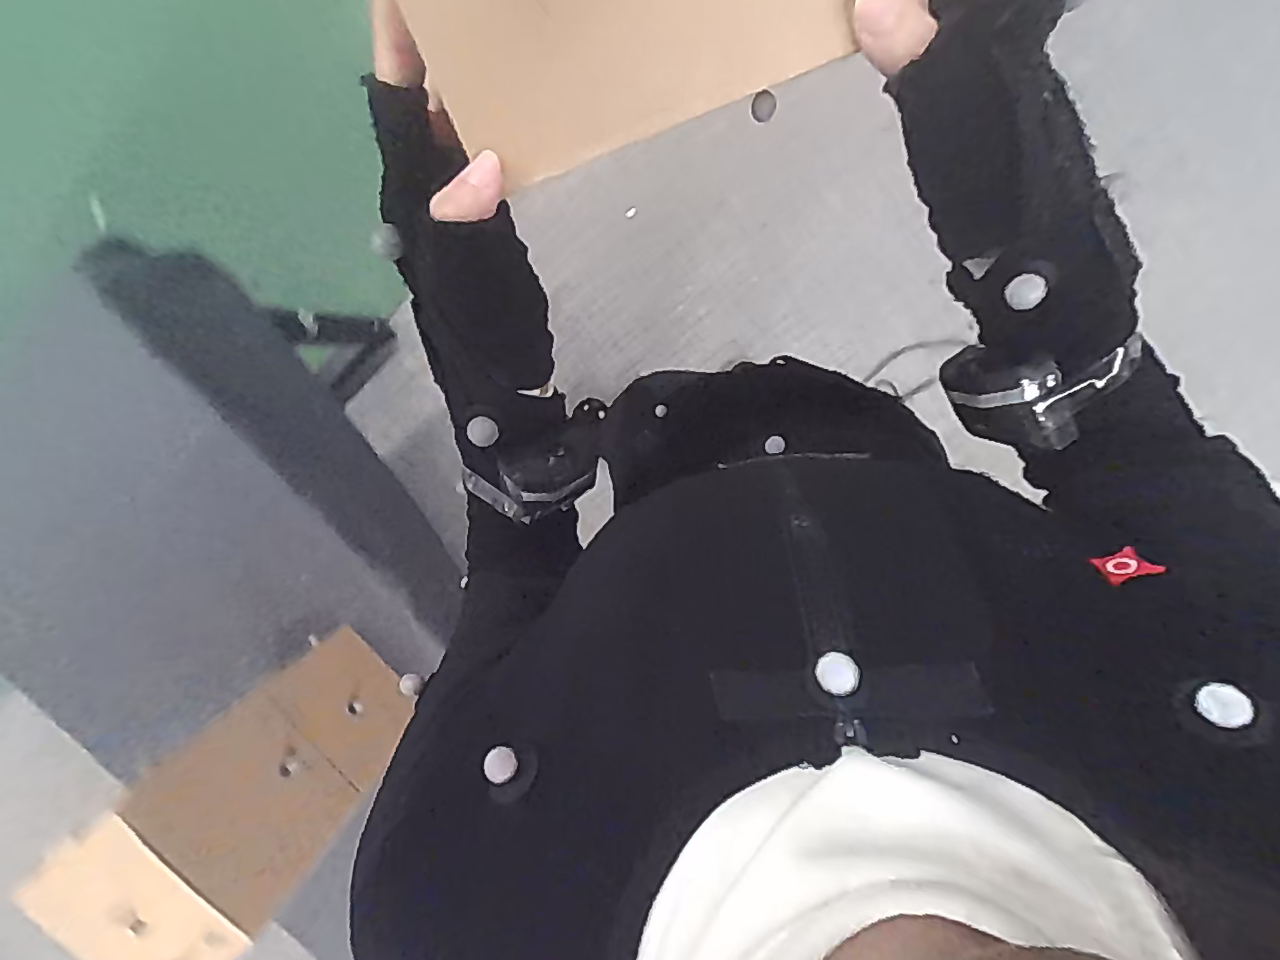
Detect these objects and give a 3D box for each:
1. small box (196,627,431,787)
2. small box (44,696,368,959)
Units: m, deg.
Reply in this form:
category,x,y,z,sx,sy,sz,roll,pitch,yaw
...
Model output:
category,x,y,z,sx,sy,sz,roll,pitch,yaw
small box,-0.431,0.328,0.740,0.168,0.176,0.179,-36,97,15
small box,-0.446,0.365,0.584,0.168,0.176,0.179,-38,96,14
